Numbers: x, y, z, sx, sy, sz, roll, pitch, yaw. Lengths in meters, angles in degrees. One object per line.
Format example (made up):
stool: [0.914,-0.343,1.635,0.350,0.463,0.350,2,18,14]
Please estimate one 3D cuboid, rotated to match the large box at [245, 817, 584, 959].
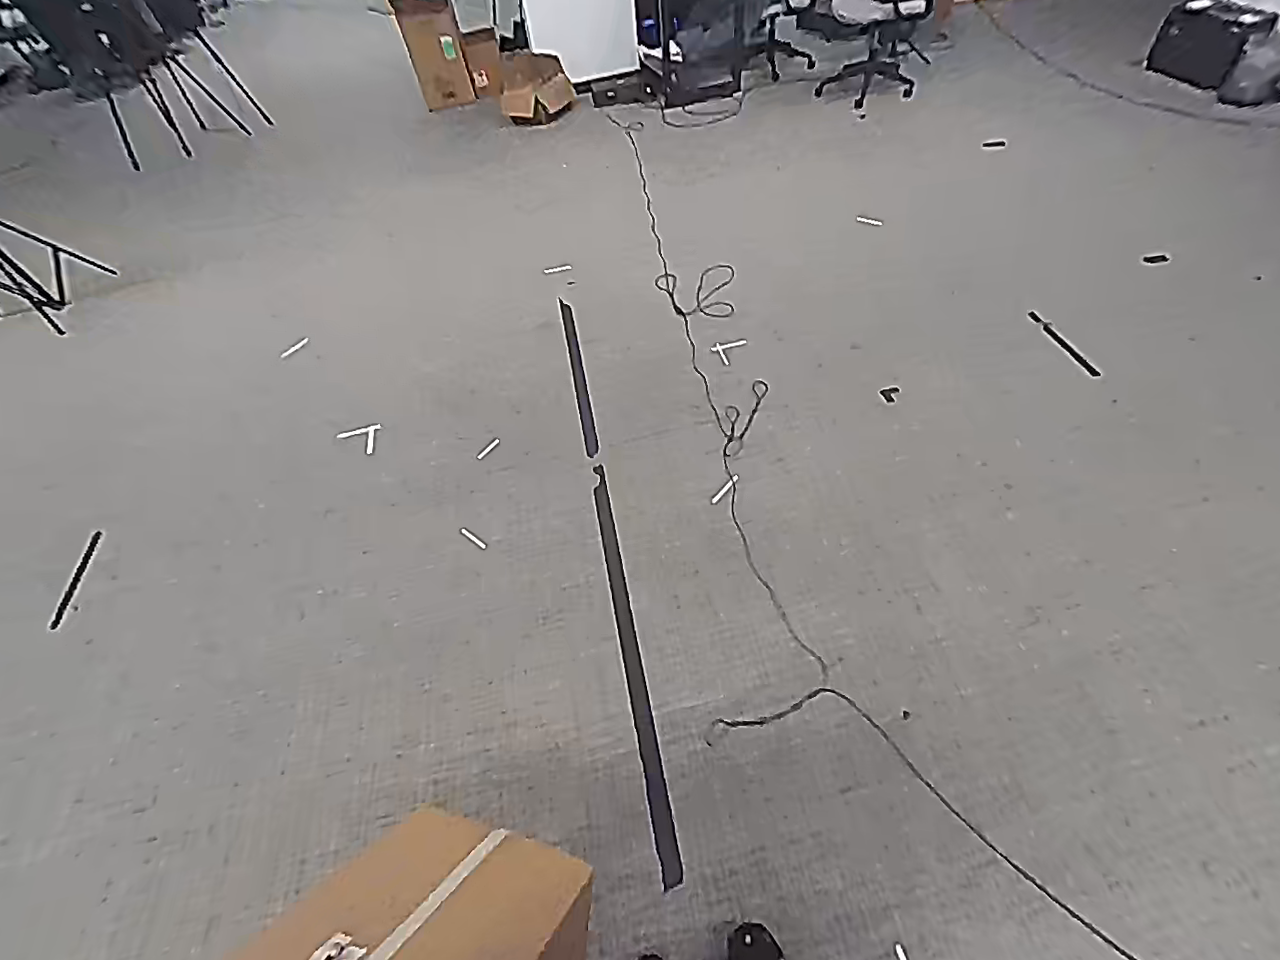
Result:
large box: [-0.300,0.720,0.665,0.320,0.408,0.320,5,91,20]
